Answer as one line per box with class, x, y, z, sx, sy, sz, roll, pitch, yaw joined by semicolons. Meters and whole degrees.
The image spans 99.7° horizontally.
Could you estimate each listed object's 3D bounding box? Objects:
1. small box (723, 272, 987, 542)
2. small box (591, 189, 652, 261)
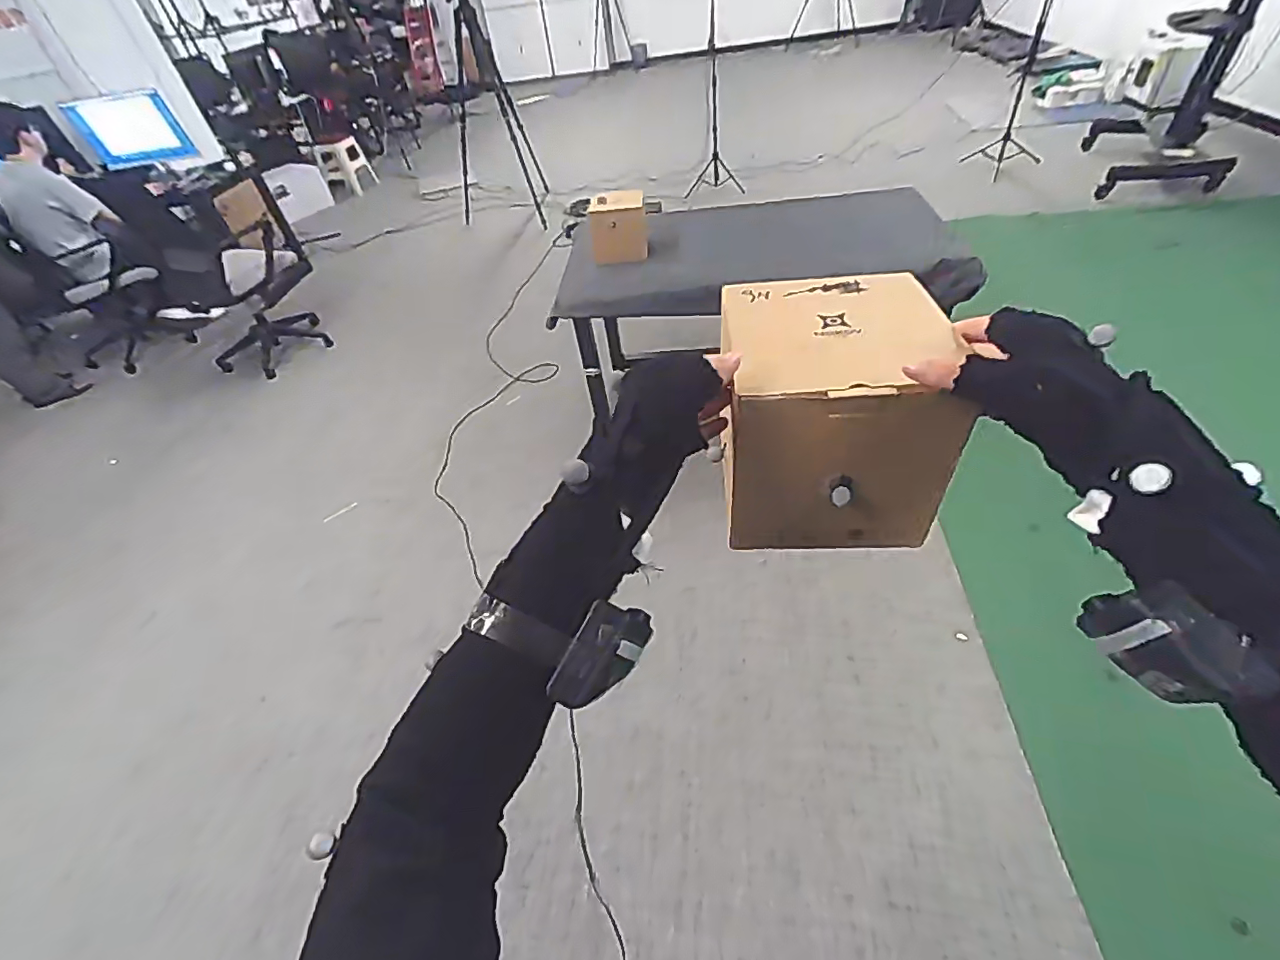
small box;0.160;-0.058;0.474;0.168;0.176;0.179;-2;45;6
small box;-0.057;-0.836;1.783;0.179;0.176;0.168;-2;45;5
